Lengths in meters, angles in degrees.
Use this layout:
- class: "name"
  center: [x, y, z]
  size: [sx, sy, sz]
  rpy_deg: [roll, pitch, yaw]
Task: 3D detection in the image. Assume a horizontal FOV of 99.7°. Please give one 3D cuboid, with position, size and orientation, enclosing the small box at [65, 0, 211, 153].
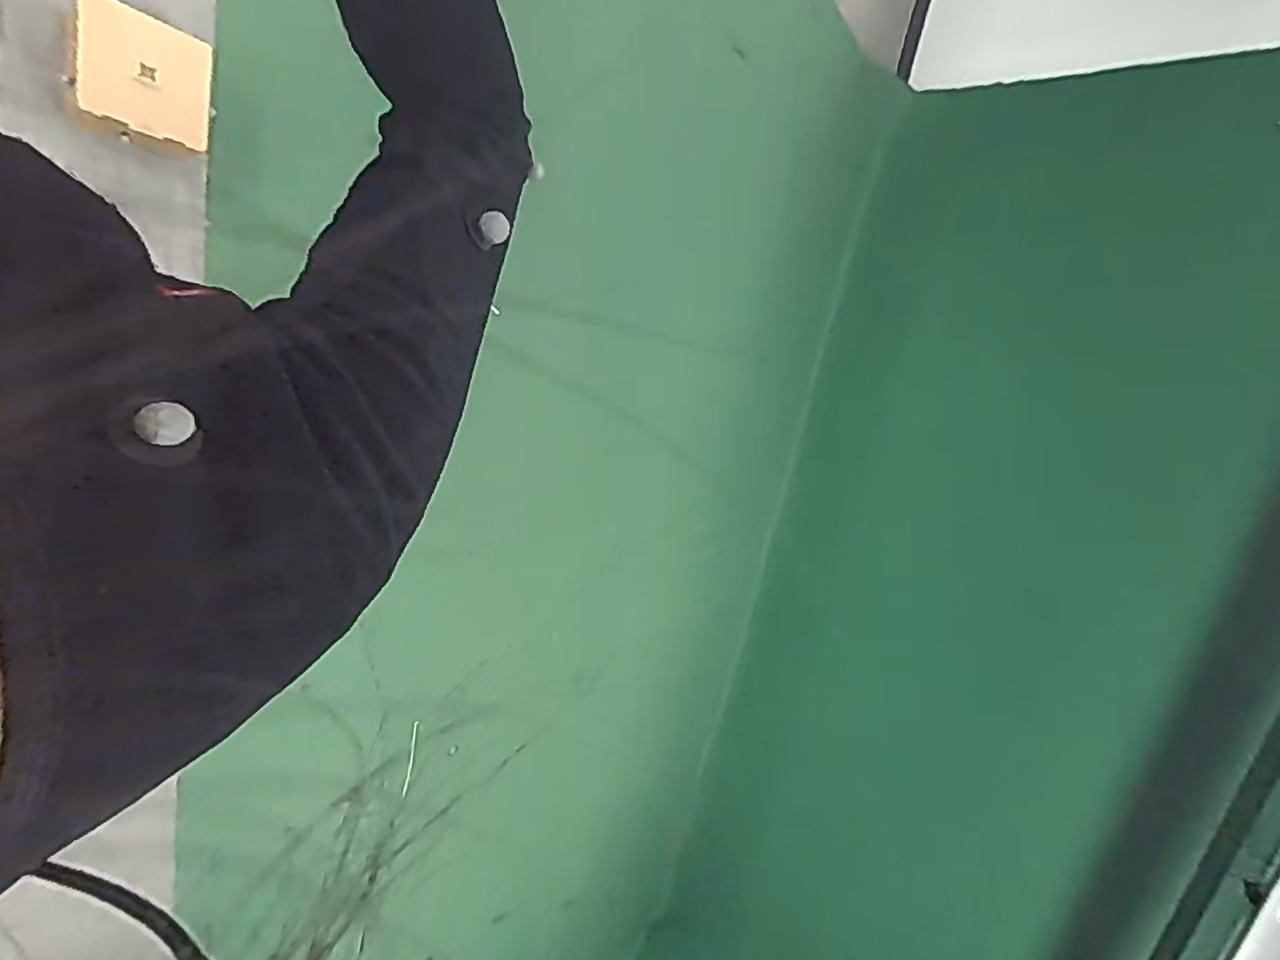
- class: "small box"
  center: [-0.872, -0.697, 0.938]
  size: [0.168, 0.176, 0.179]
  rpy_deg: [-2, 109, -50]
